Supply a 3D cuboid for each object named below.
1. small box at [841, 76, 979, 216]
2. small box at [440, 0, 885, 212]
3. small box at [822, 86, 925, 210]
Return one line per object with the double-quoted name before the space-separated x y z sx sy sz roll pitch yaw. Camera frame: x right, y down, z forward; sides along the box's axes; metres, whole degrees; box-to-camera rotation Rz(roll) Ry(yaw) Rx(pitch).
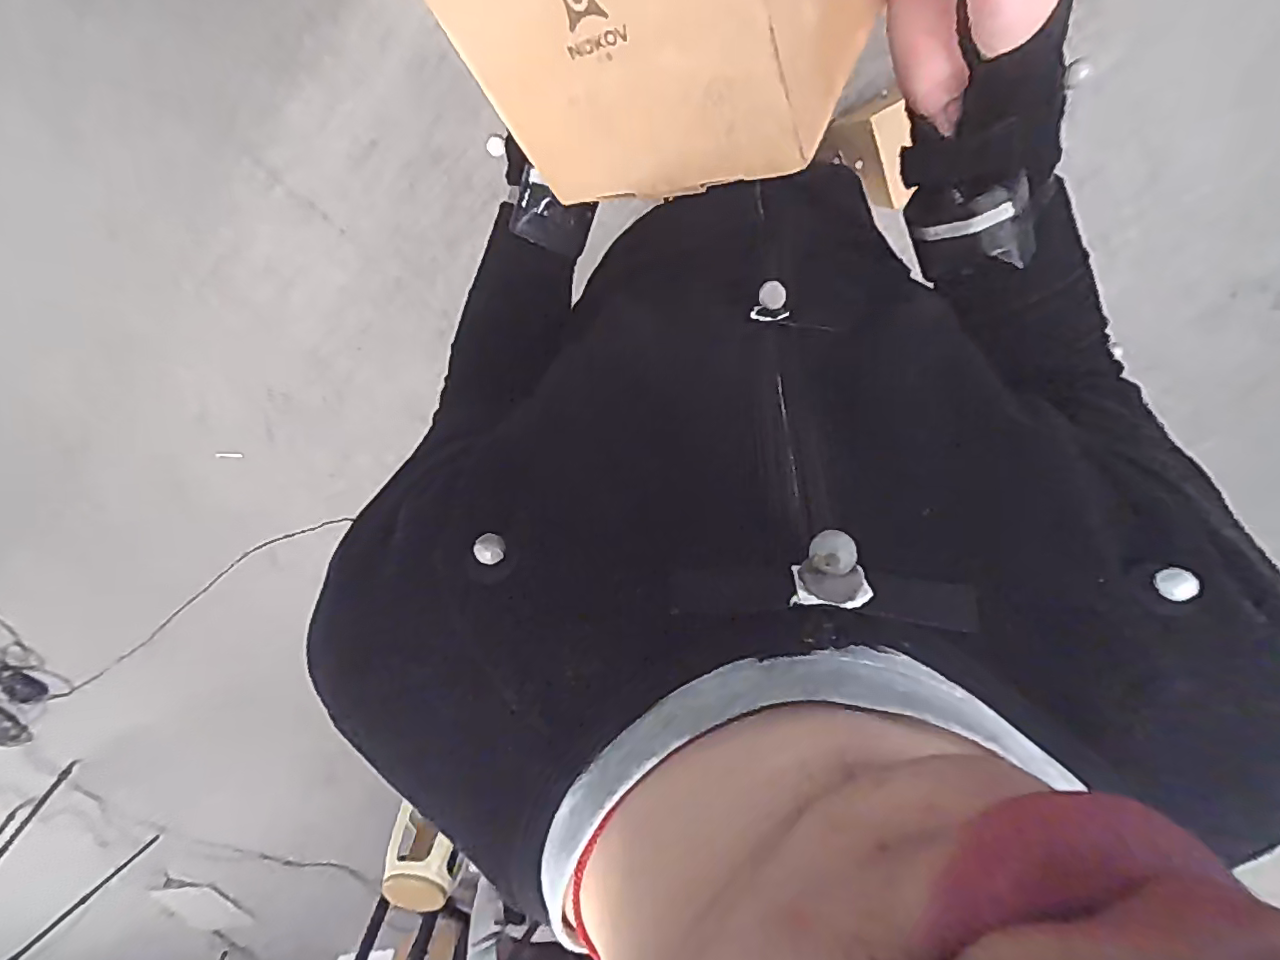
"small box" 0.511 -0.635 1.040 0.179 0.176 0.168 -21 116 16
"small box" 0.019 -0.272 0.271 0.168 0.176 0.179 13 159 34
"small box" 0.521 -0.720 1.181 0.179 0.176 0.168 -22 116 18
